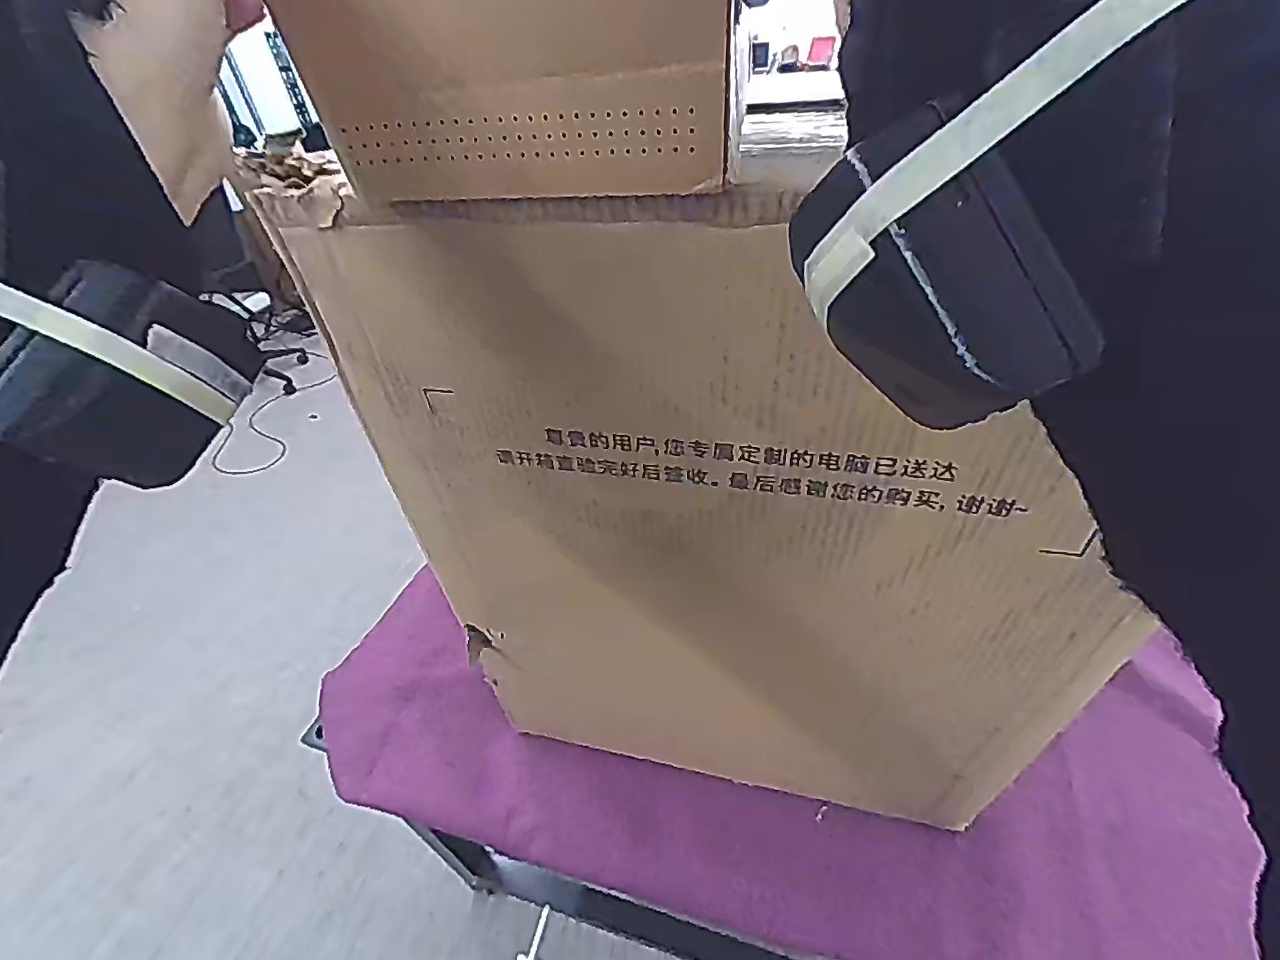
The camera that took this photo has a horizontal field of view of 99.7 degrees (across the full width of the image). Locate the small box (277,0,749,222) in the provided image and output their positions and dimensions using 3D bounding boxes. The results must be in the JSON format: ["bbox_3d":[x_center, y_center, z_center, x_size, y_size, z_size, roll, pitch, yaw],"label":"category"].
[{"bbox_3d":[-0.043,-0.229,0.236,0.179,0.176,0.168,4,49,10],"label":"small box"}]
